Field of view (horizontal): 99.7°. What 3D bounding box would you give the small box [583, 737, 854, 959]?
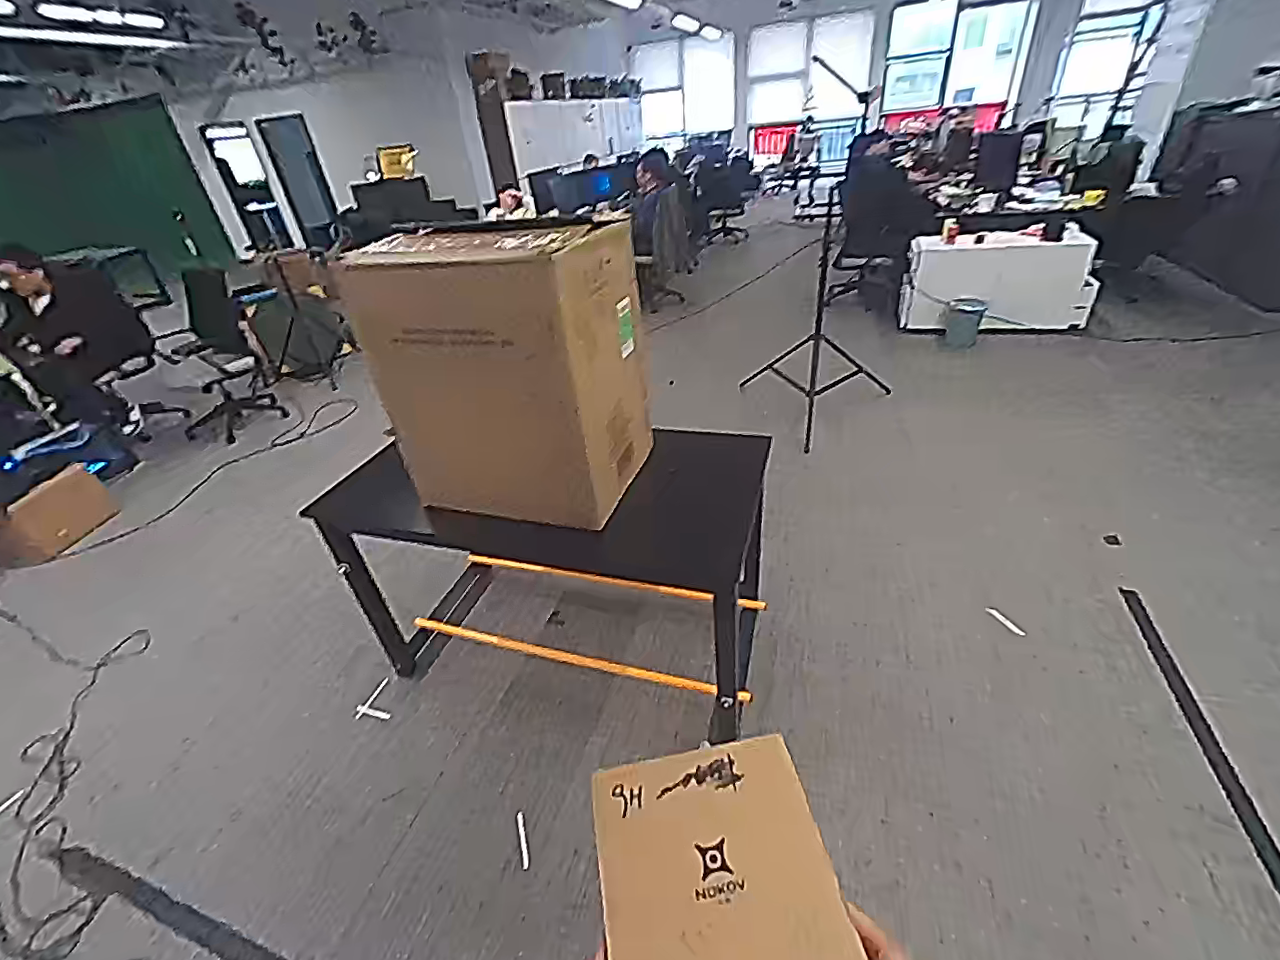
[{"bbox_3d":[0.054,0.342,0.432,0.168,0.176,0.179,-10,41,-5],"label":"small box"}]
